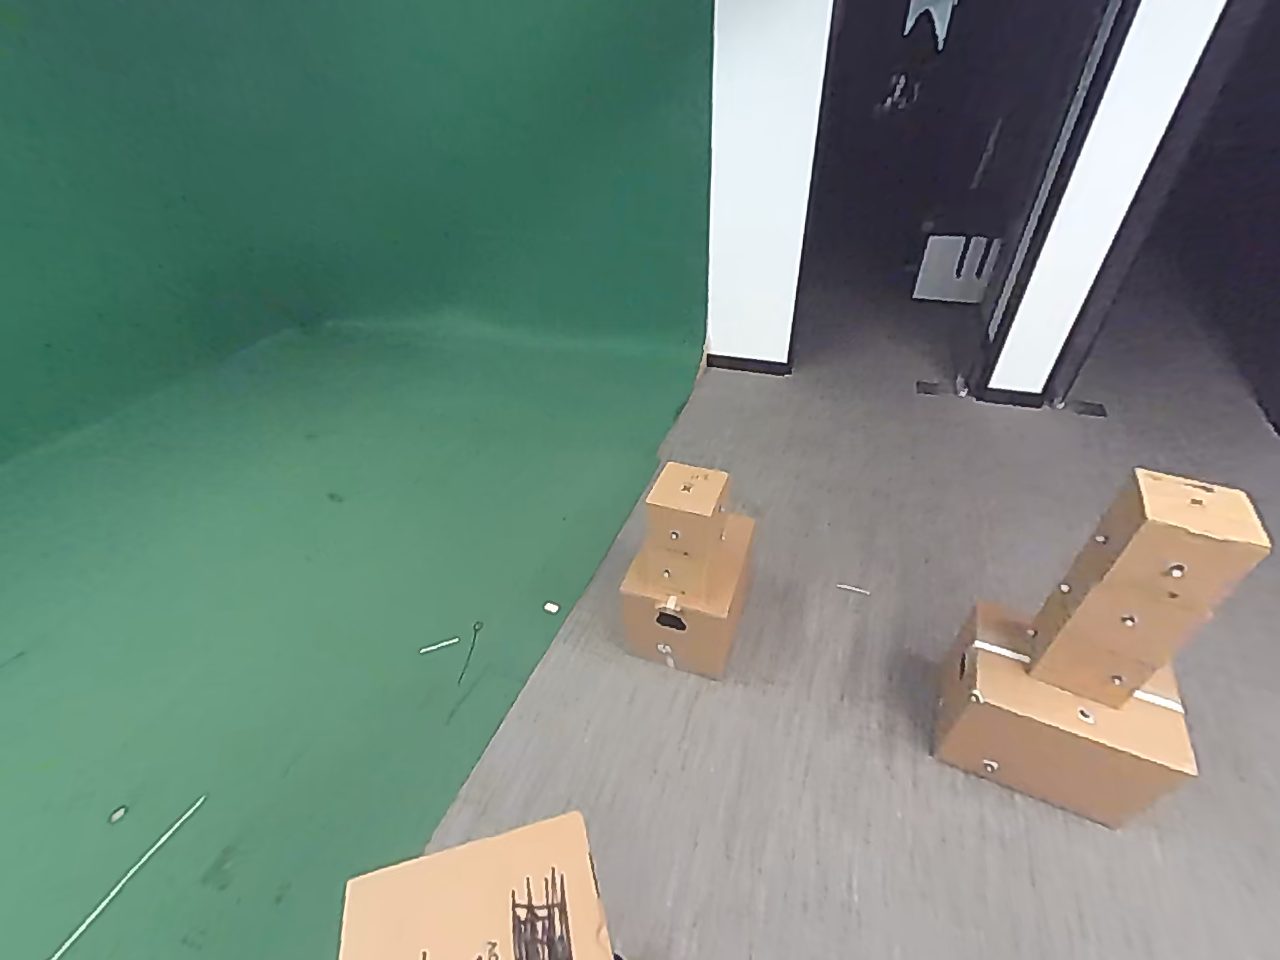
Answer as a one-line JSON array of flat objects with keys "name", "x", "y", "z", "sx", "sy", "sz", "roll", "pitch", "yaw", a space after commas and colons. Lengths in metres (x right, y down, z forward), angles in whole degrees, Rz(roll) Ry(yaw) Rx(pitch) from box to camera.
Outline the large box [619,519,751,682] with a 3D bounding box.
[{"name": "large box", "x": 0.156, "y": 0.352, "z": 1.709, "sx": 0.320, "sy": 0.320, "sz": 0.408, "roll": 11, "pitch": 40, "yaw": 17}]

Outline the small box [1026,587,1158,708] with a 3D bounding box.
[{"name": "small box", "x": 1.007, "y": 0.381, "z": 1.219, "sx": 0.179, "sy": 0.176, "sz": 0.168, "roll": 18, "pitch": 42, "yaw": 25}]

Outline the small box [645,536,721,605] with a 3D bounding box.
[{"name": "small box", "x": 0.124, "y": 0.216, "z": 1.491, "sx": 0.168, "sy": 0.176, "sz": 0.179, "roll": 12, "pitch": 41, "yaw": 19}]

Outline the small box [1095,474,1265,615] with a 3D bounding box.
[{"name": "small box", "x": 0.996, "y": 0.121, "z": 1.019, "sx": 0.168, "sy": 0.176, "sz": 0.179, "roll": 19, "pitch": 42, "yaw": 25}]

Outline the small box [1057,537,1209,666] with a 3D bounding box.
[{"name": "small box", "x": 1.002, "y": 0.254, "z": 1.115, "sx": 0.179, "sy": 0.176, "sz": 0.168, "roll": 19, "pitch": 42, "yaw": 26}]

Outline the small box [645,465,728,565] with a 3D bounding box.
[{"name": "small box", "x": 0.123, "y": 0.090, "z": 1.384, "sx": 0.168, "sy": 0.176, "sz": 0.179, "roll": 13, "pitch": 41, "yaw": 19}]
